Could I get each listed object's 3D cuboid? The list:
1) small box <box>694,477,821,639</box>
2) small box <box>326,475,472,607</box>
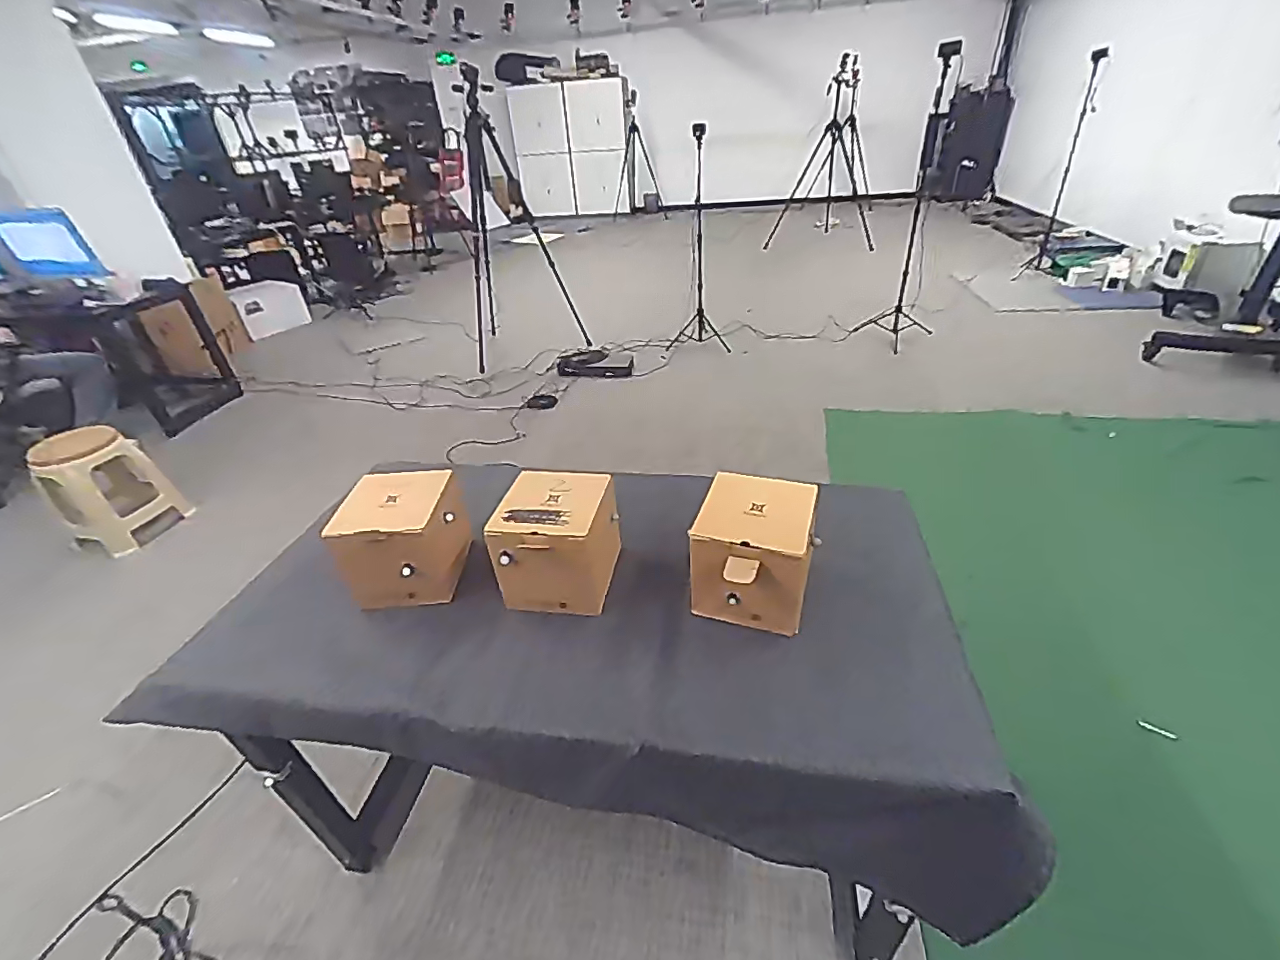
[{"bbox_3d":[0.187,0.120,0.868,0.168,0.176,0.179,9,36,19],"label":"small box"},{"bbox_3d":[-0.409,0.111,0.958,0.168,0.176,0.179,-3,32,0],"label":"small box"}]
